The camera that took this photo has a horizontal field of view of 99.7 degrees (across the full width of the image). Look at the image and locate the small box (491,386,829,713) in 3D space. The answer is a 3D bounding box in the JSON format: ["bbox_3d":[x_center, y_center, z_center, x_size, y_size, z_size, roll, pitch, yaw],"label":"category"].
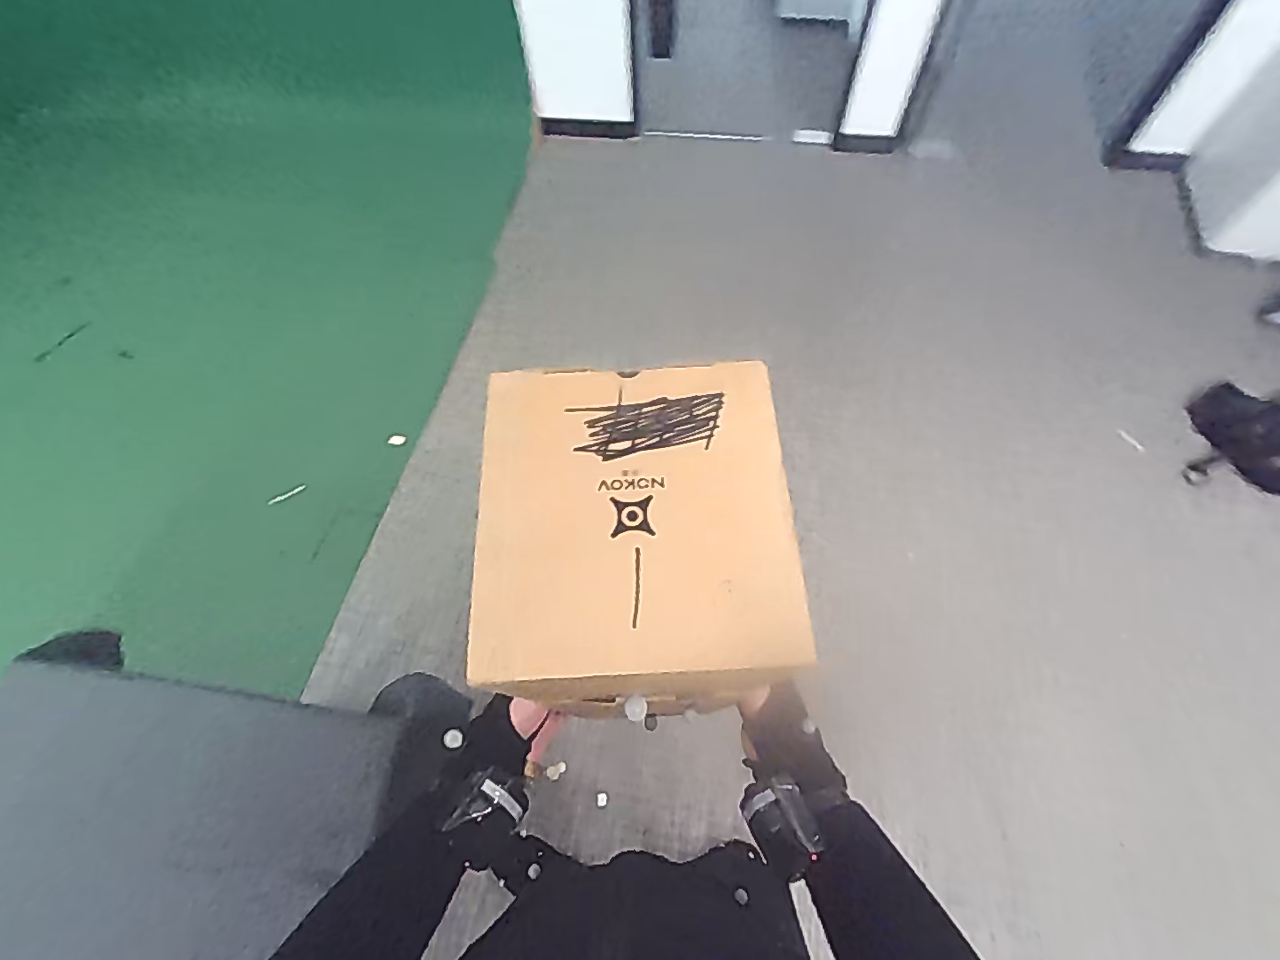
[{"bbox_3d":[0.008,0.057,0.366,0.168,0.176,0.179,-3,66,0],"label":"small box"}]
